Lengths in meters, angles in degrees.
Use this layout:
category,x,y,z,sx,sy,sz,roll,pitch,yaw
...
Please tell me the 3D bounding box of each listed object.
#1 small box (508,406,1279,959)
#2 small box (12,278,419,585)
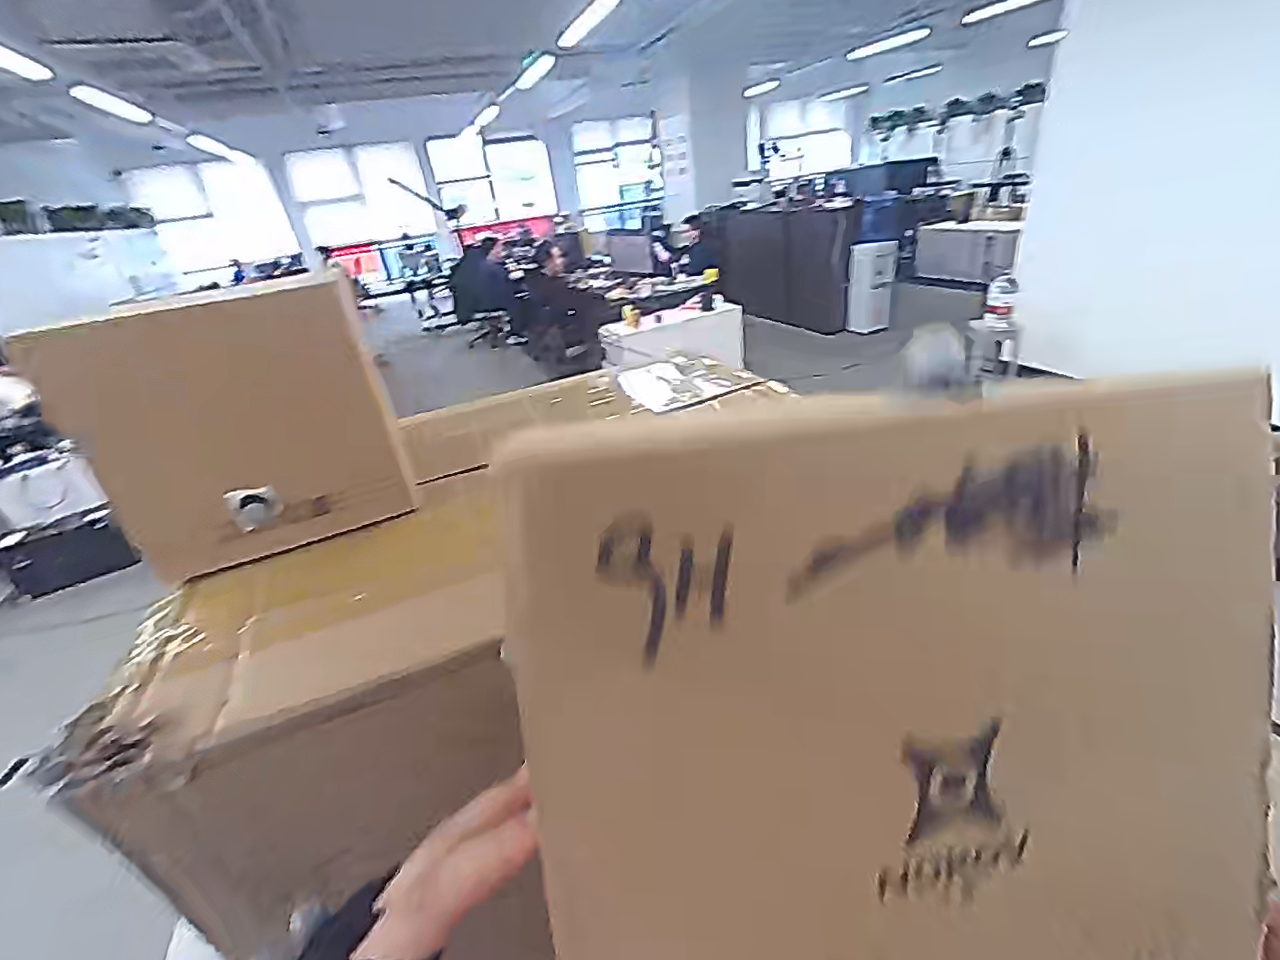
category,x,y,z,sx,sy,sz,roll,pitch,yaw
small box,0.051,0.068,0.197,0.168,0.179,0.176,-7,9,-9
small box,-0.286,-0.050,0.416,0.168,0.176,0.179,-20,30,-20
